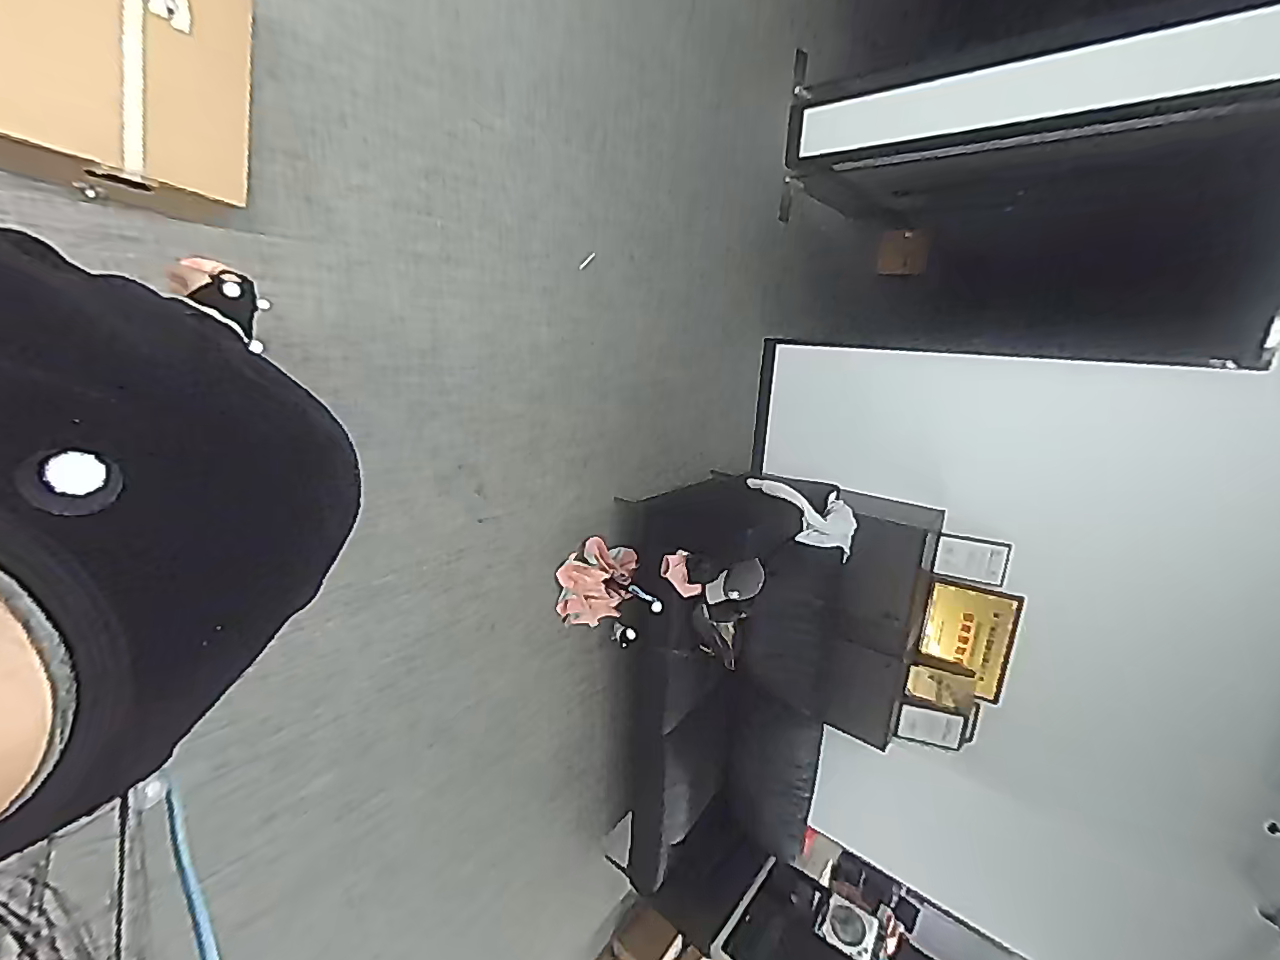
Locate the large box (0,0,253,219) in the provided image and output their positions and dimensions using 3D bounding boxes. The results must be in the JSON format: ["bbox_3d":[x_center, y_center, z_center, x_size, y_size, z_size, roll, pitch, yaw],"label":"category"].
[{"bbox_3d":[-0.896,-0.718,0.928,0.320,0.320,0.408,-3,103,-51],"label":"large box"}]
